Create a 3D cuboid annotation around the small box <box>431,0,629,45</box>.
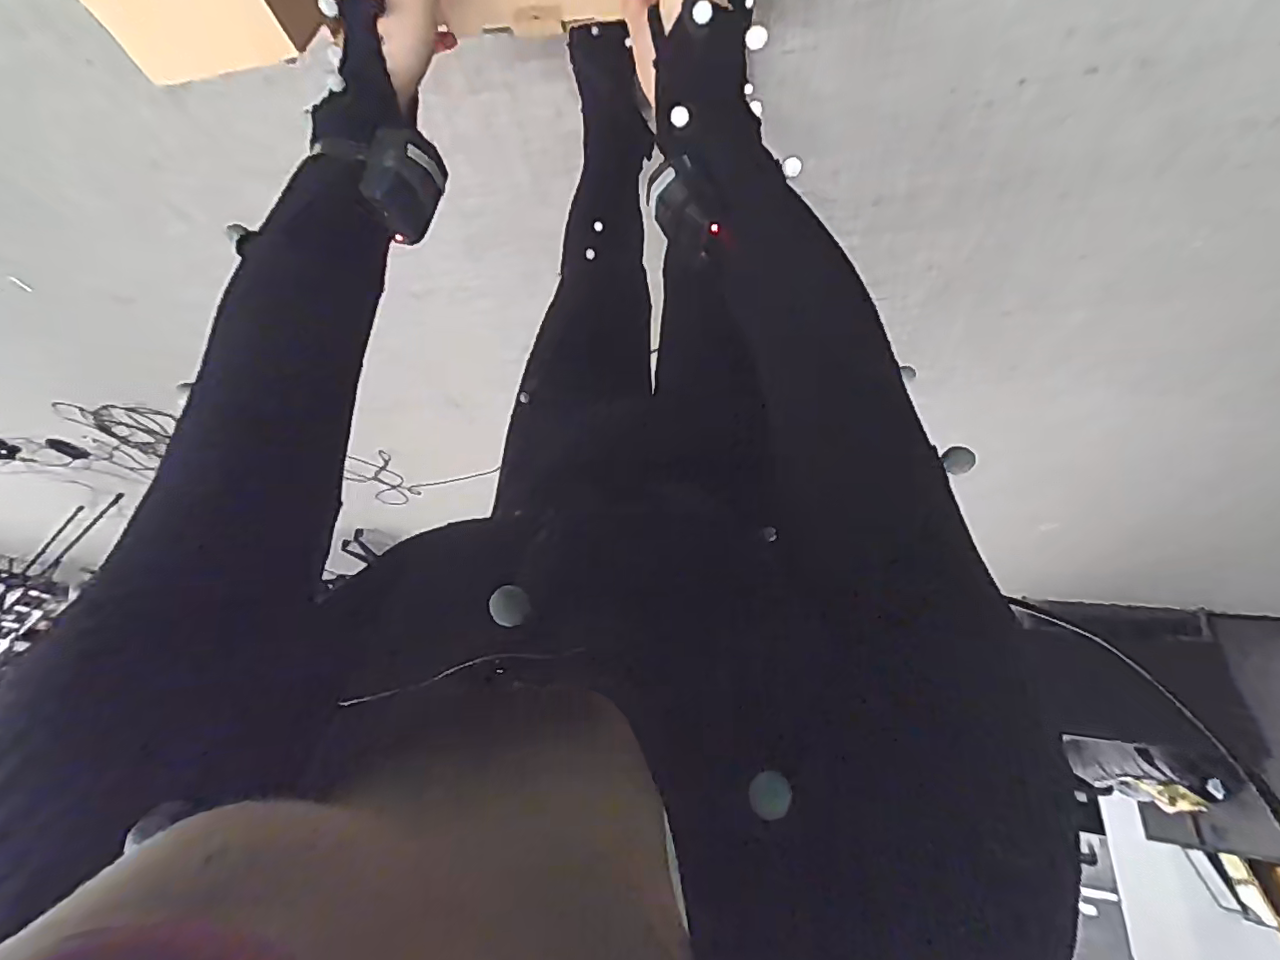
[{"bbox_3d":[-0.087,-0.481,0.409,0.168,0.176,0.179,4,157,12],"label":"small box"}]
